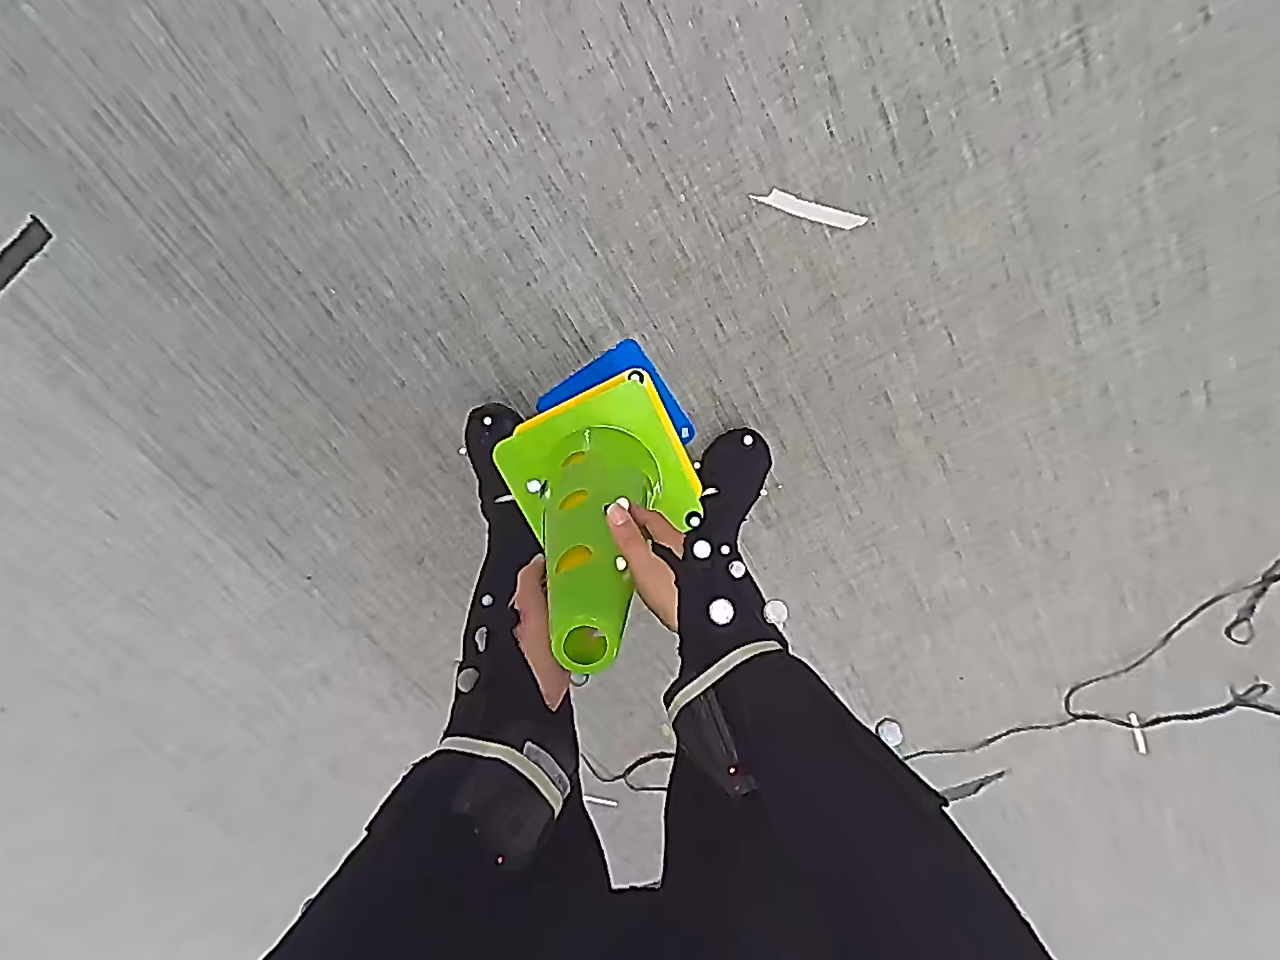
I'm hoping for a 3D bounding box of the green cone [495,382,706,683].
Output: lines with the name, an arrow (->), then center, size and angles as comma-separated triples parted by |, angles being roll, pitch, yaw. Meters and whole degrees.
green cone -> -0.040, 0.050, 0.480 | 0.202, 0.368, 0.200 | -26, 103, 5
